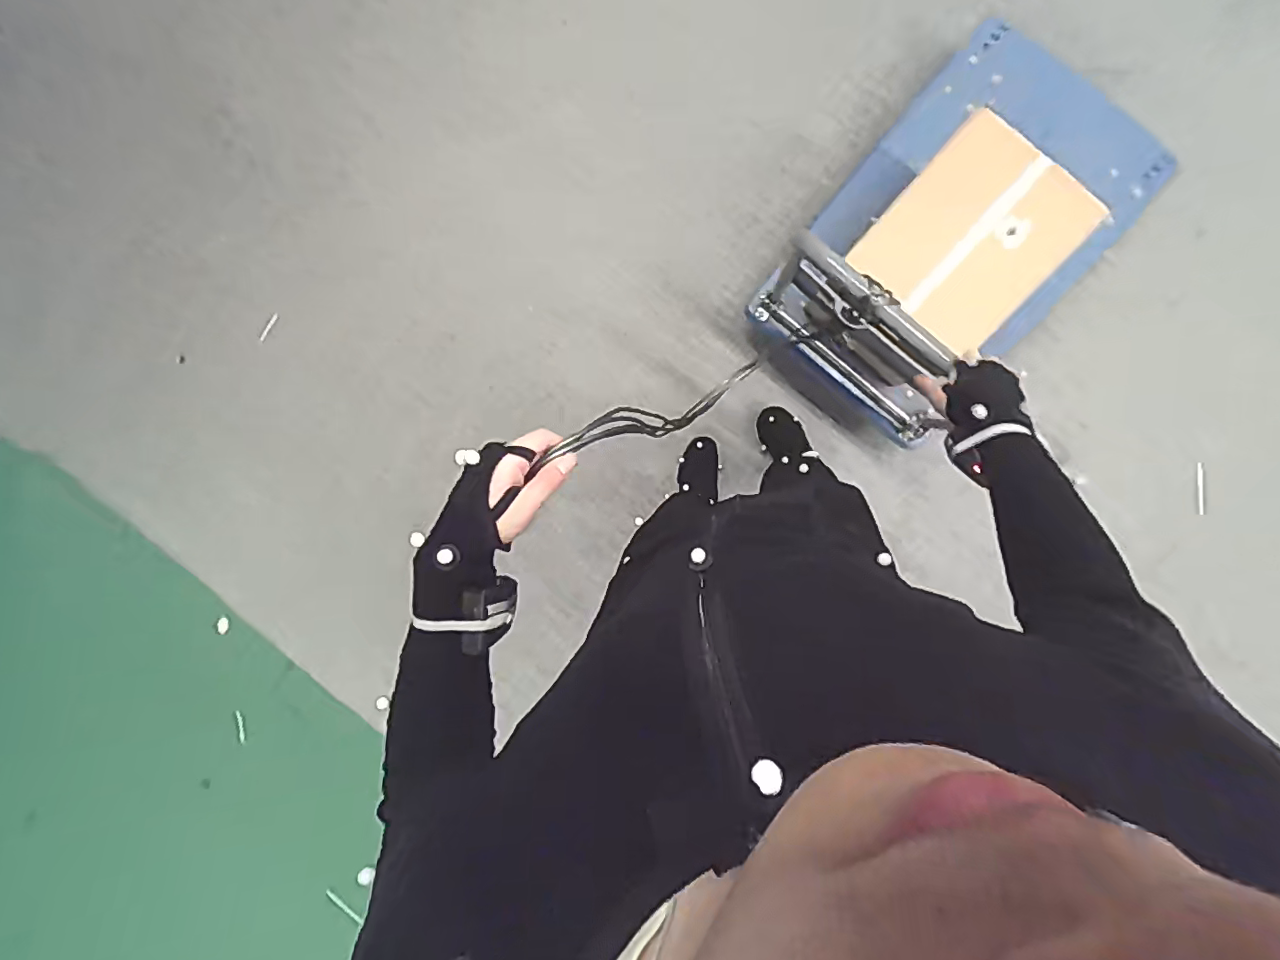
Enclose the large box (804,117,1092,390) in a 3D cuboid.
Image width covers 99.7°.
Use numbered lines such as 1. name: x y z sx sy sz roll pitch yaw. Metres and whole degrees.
1. large box: 0.636 -0.461 1.203 0.320 0.320 0.408 42 98 1
